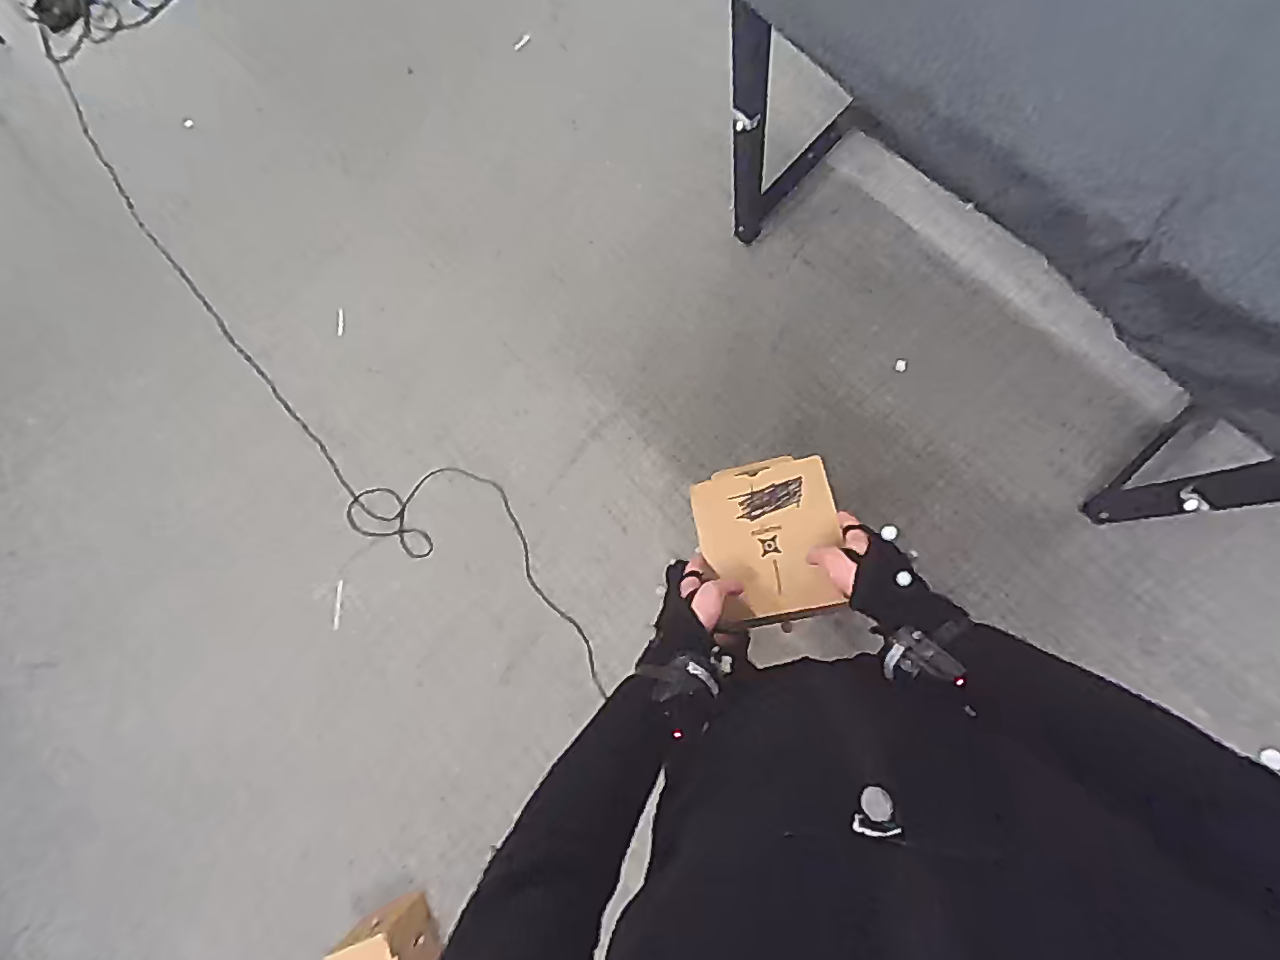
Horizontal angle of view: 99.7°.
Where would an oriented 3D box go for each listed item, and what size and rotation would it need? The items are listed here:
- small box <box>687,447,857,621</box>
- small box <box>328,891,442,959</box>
[{"bbox_3d":[0.167,0.080,0.701,0.168,0.176,0.179,-14,71,13],"label":"small box"},{"bbox_3d":[-0.610,1.160,1.320,0.179,0.176,0.168,-26,79,4],"label":"small box"}]
